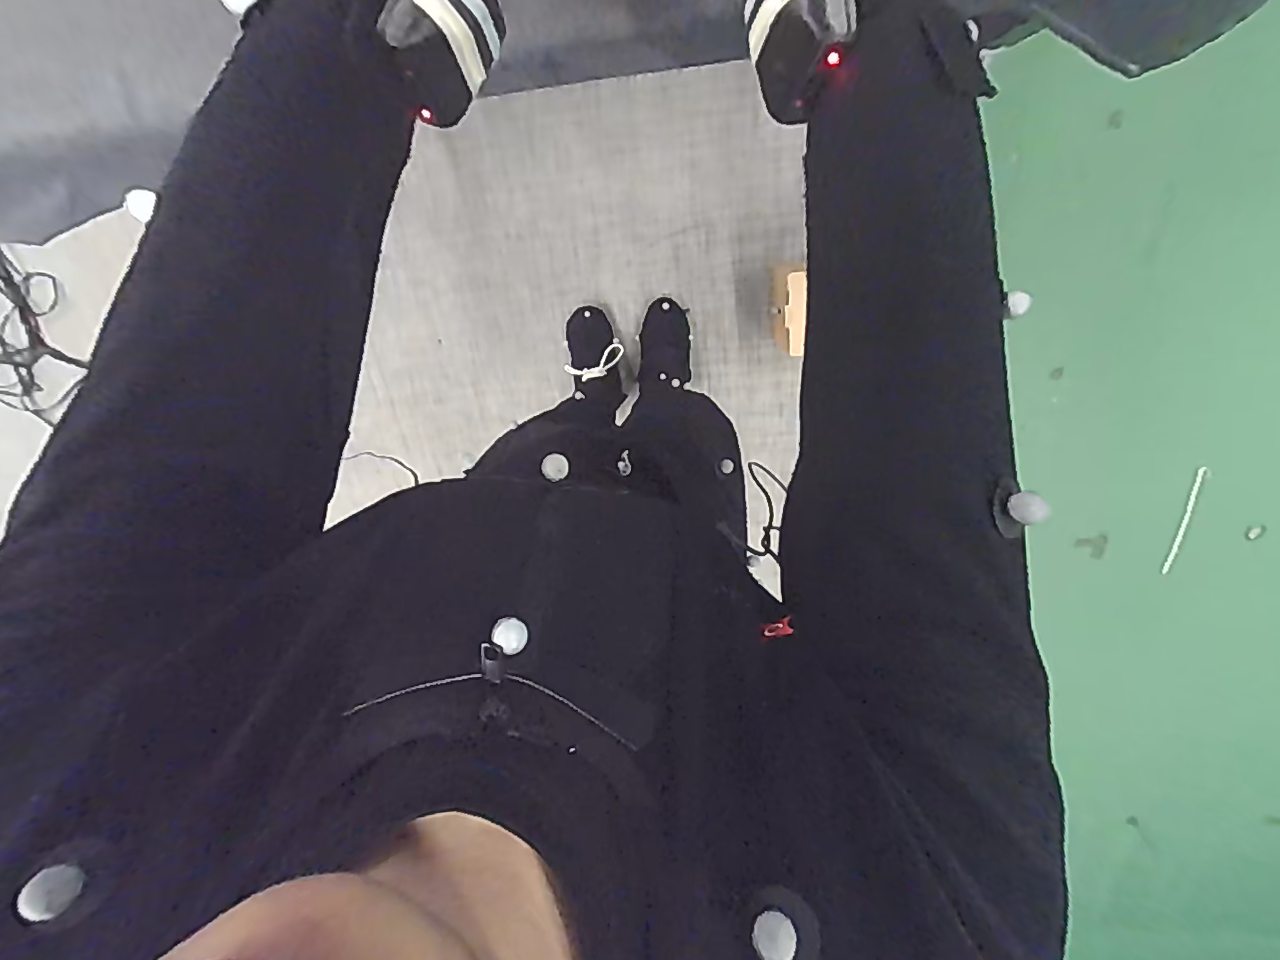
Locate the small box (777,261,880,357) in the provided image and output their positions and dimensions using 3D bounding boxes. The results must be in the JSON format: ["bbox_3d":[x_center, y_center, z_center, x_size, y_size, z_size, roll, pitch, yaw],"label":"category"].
[{"bbox_3d":[0.386,-0.363,1.139,0.179,0.176,0.168,-5,114,7],"label":"small box"}]
